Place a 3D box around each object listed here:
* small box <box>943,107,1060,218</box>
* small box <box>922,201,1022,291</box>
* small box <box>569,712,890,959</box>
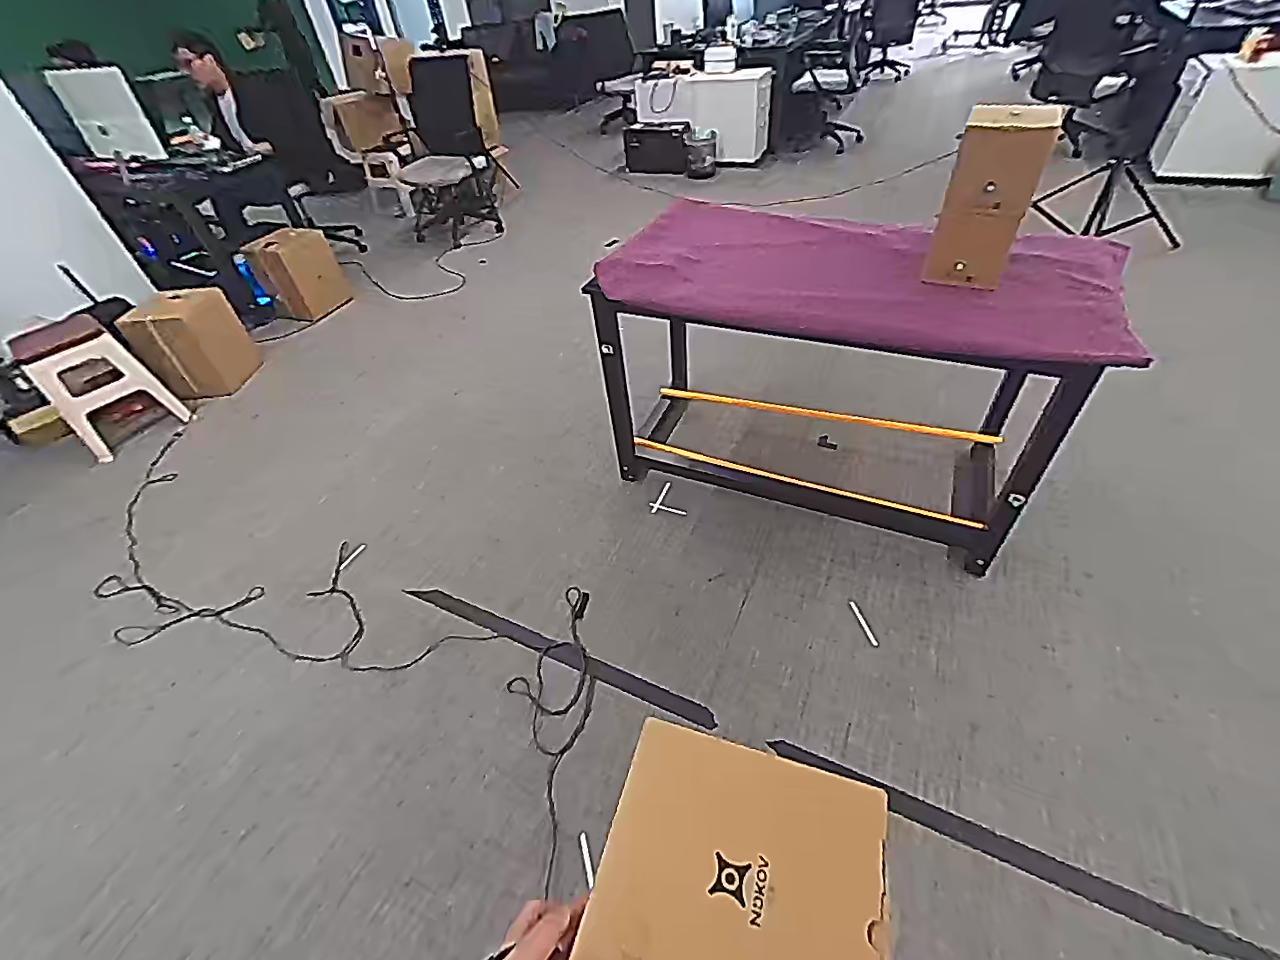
[{"bbox_3d":[0.780,-0.692,1.175,0.168,0.176,0.179,17,50,24],"label":"small box"},{"bbox_3d":[0.793,-0.577,1.292,0.168,0.176,0.179,18,50,24],"label":"small box"},{"bbox_3d":[0.069,0.304,0.393,0.179,0.176,0.168,10,46,15],"label":"small box"}]
